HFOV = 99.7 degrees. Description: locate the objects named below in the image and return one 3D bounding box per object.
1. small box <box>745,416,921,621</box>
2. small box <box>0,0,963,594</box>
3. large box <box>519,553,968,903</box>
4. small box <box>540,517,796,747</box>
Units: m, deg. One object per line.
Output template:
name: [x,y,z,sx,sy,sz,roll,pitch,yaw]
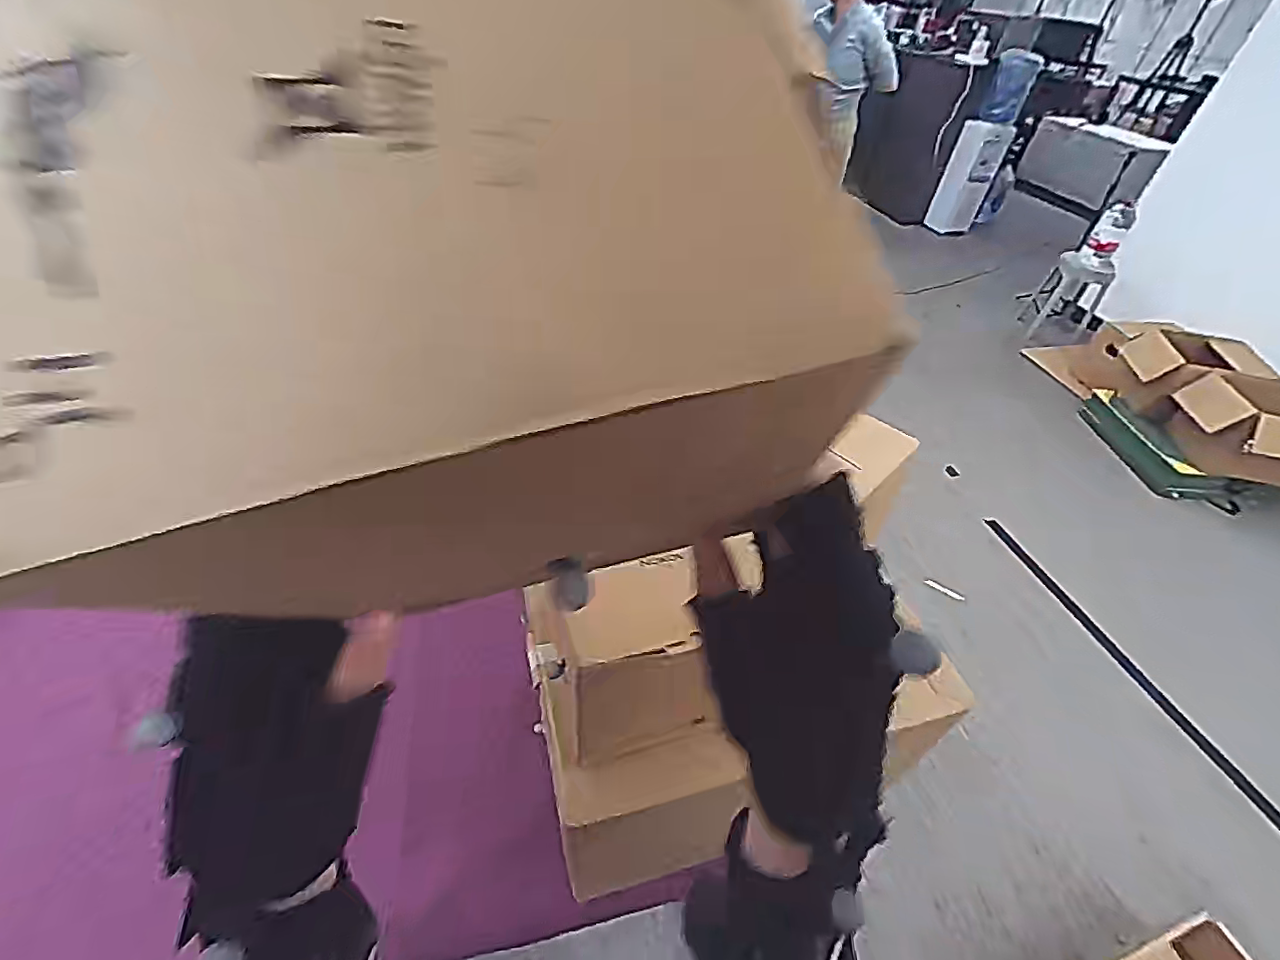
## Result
small box: [0.153,0.014,0.579,0.168,0.176,0.179,-32,53,-32]
small box: [-0.040,-0.062,0.191,0.179,0.176,0.168,-13,74,-1]
large box: [0.080,0.253,0.678,0.408,0.320,0.320,-9,46,-15]
small box: [0.005,0.107,0.471,0.168,0.176,0.179,-9,44,-16]
